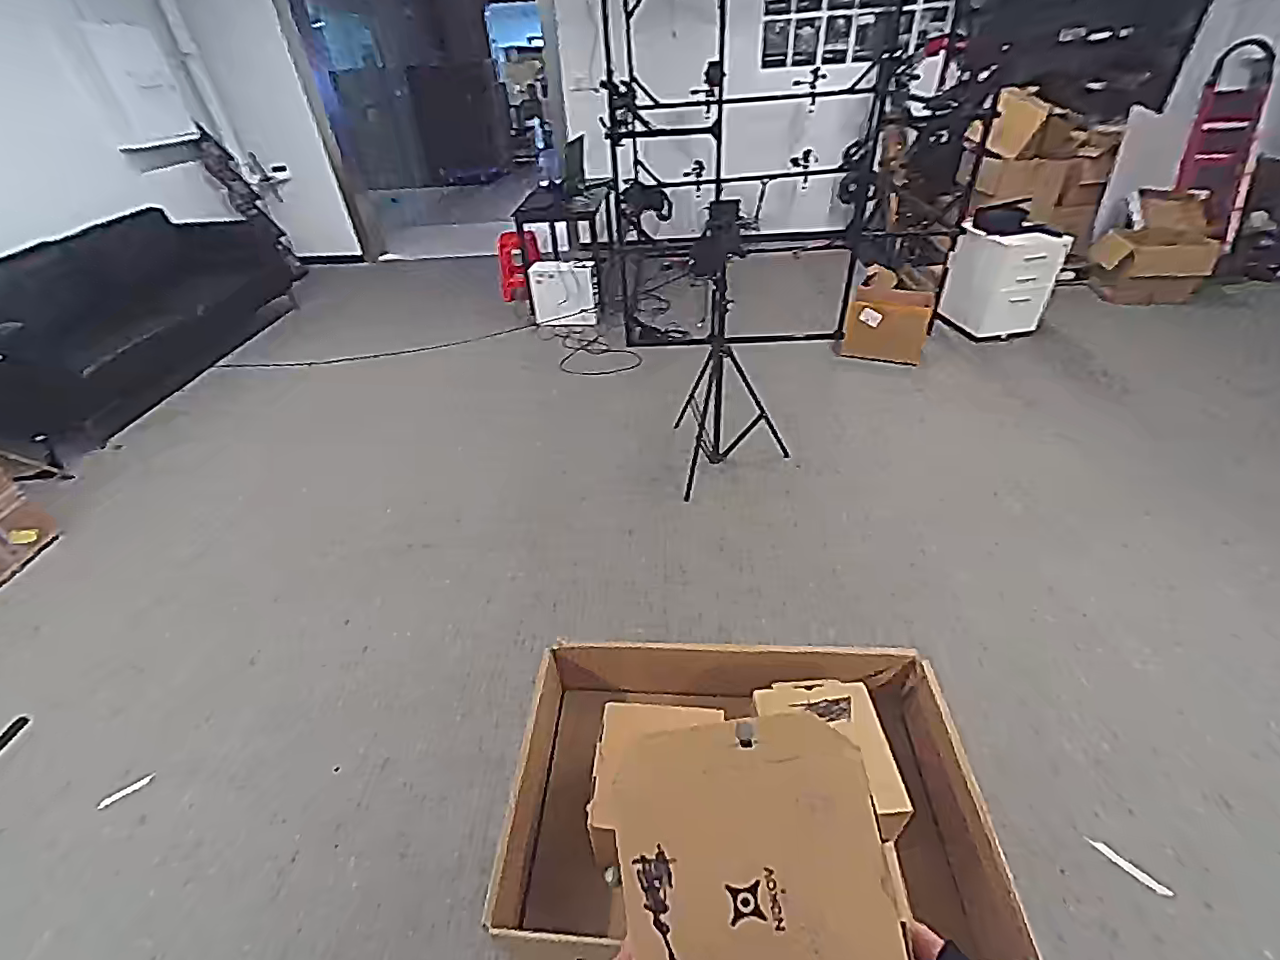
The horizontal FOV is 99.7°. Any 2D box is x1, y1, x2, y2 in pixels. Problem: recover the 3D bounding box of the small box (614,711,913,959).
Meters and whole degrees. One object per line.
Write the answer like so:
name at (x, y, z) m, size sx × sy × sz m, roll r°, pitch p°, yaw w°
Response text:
small box at (0.081, 0.288, 0.425) m, size 0.179 × 0.176 × 0.168 m, roll -9°, pitch 73°, yaw 0°
